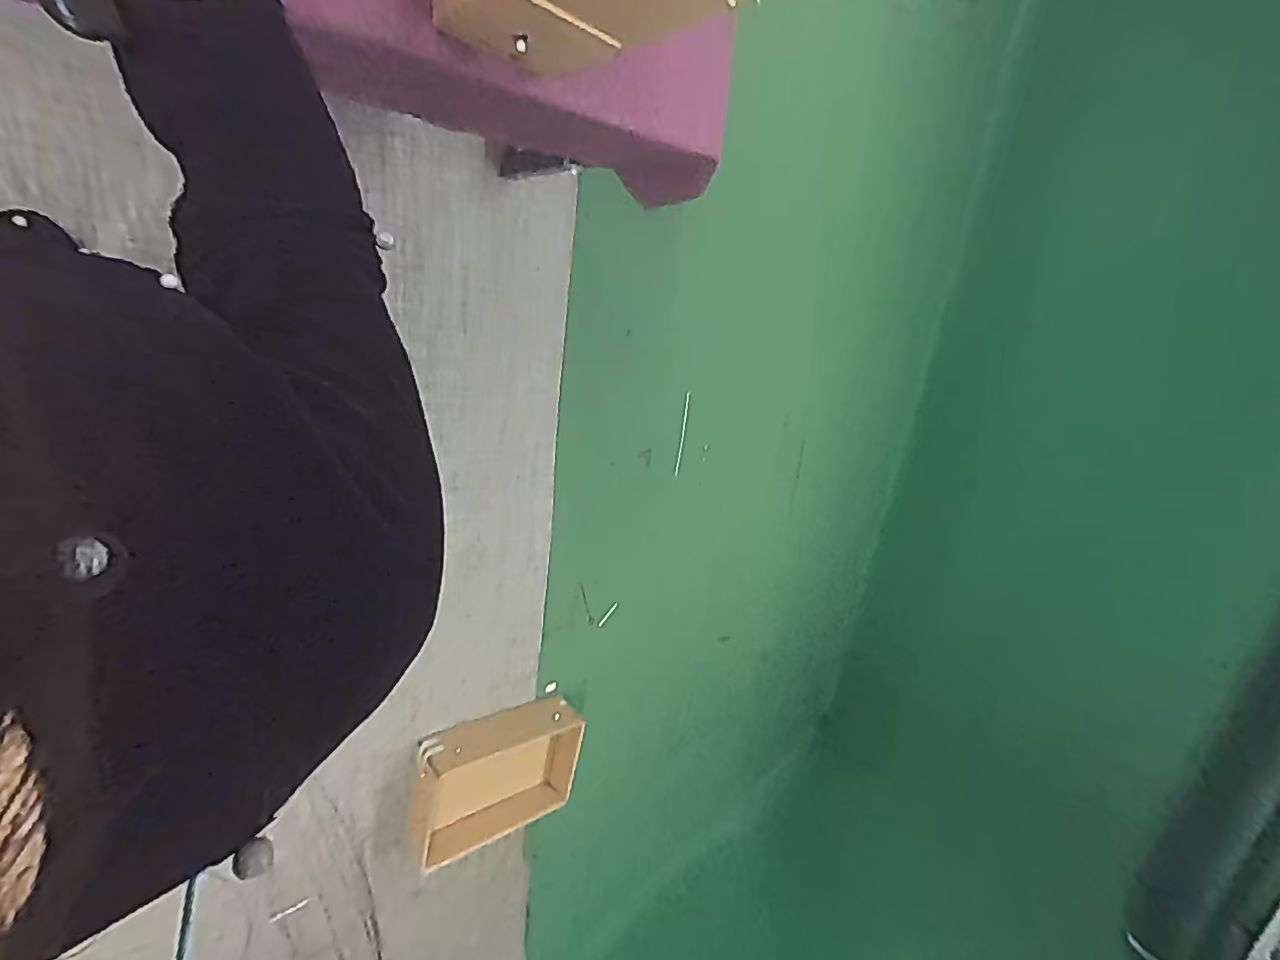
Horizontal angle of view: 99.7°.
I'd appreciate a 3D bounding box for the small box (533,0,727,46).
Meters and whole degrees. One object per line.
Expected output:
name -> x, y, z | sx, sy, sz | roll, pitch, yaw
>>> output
small box -> -0.020, -0.572, 0.534 | 0.179, 0.176, 0.168 | -10, 114, -44
